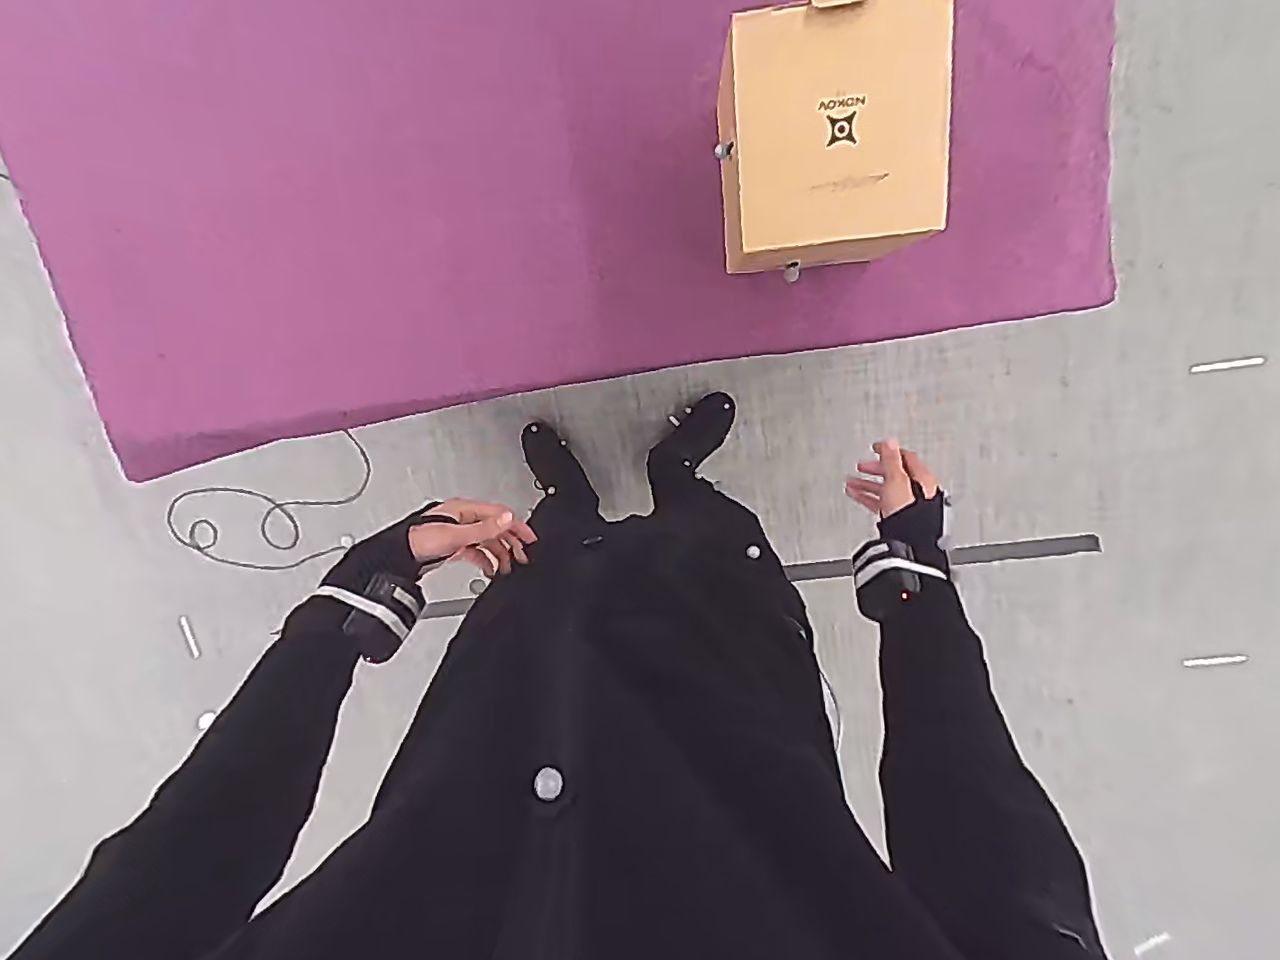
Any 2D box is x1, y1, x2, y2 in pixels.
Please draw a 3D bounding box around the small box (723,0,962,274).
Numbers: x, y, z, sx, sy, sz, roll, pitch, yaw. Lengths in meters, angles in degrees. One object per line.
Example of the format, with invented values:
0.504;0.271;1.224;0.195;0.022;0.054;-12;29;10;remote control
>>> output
0.166;-0.299;0.498;0.168;0.176;0.179;-3;104;6;small box
